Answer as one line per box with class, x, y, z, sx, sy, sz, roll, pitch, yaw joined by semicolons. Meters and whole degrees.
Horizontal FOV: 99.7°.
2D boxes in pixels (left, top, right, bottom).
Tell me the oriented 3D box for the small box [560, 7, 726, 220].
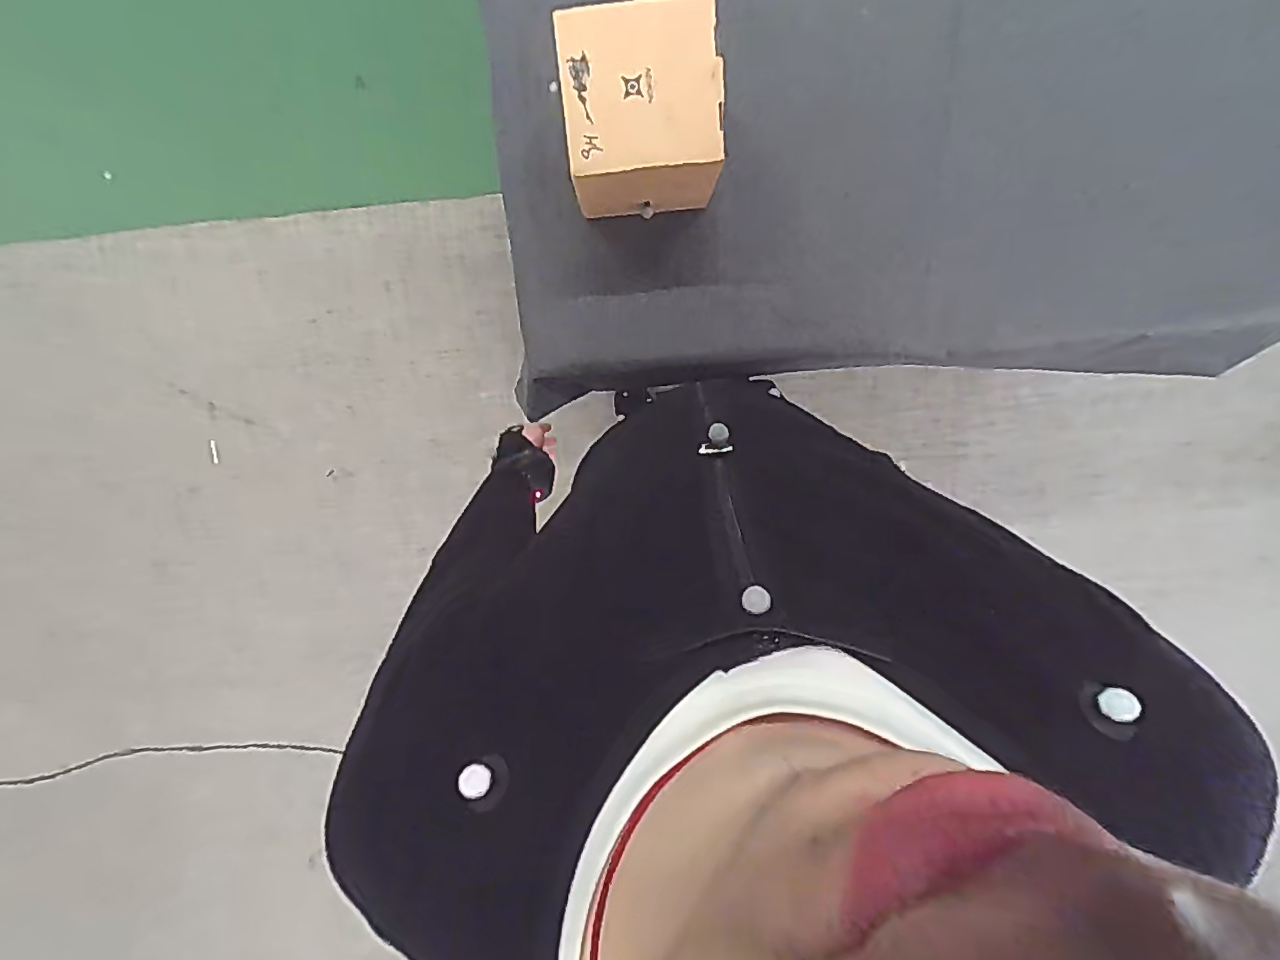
small box;0.002;-0.439;0.675;0.179;0.176;0.168;-5;101;0
